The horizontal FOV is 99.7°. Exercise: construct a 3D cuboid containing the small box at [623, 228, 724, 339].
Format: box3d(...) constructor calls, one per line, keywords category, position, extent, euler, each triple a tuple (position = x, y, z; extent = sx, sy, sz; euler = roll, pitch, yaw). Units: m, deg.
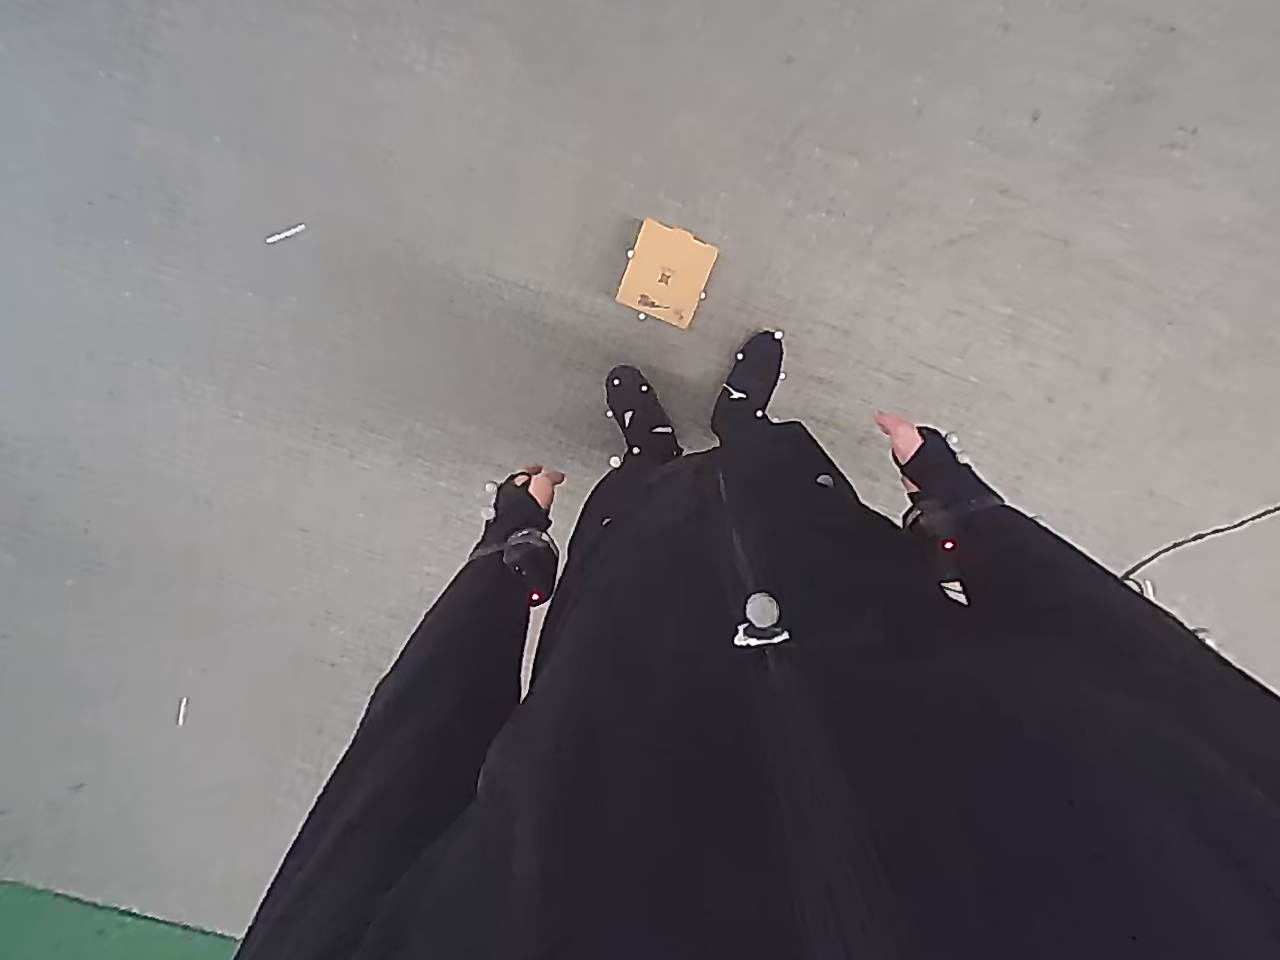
box3d(category="small box", position=(0.069, -0.427, 1.206), extent=(0.168, 0.176, 0.179), euler=(22, 104, -4))
